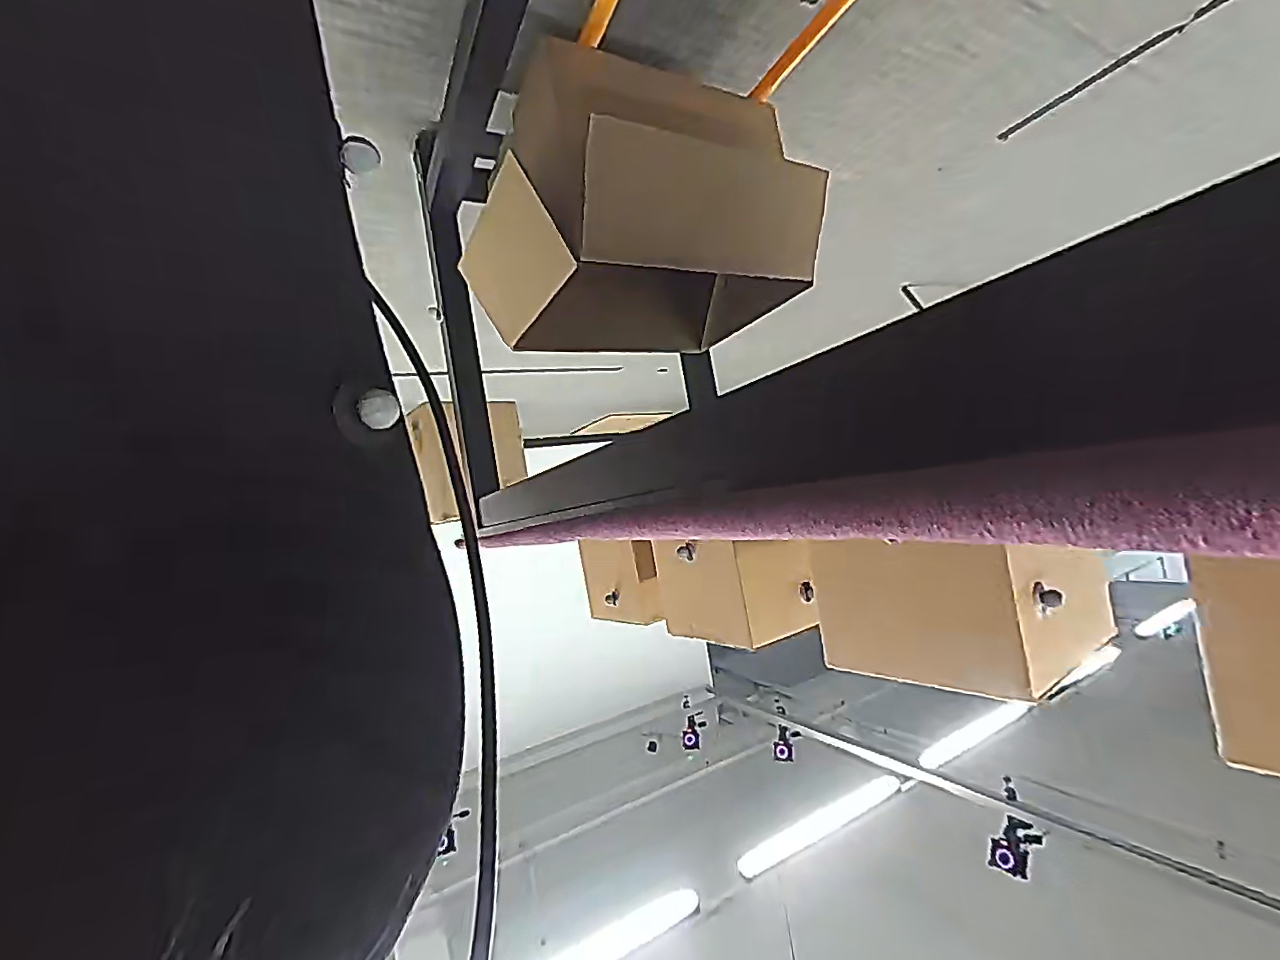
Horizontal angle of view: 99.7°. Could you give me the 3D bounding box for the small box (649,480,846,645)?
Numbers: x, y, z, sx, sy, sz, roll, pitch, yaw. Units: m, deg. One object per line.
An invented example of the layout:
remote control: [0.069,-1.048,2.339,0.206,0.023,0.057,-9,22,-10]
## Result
small box: [0.134,0.098,0.702,0.179,0.176,0.168,-8,176,-33]

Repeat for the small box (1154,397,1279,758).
small box: [0.390,0.036,0.261,0.179,0.176,0.168,-5,176,-35]

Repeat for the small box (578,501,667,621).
small box: [0.009,0.127,0.906,0.168,0.176,0.179,-9,177,-35]
